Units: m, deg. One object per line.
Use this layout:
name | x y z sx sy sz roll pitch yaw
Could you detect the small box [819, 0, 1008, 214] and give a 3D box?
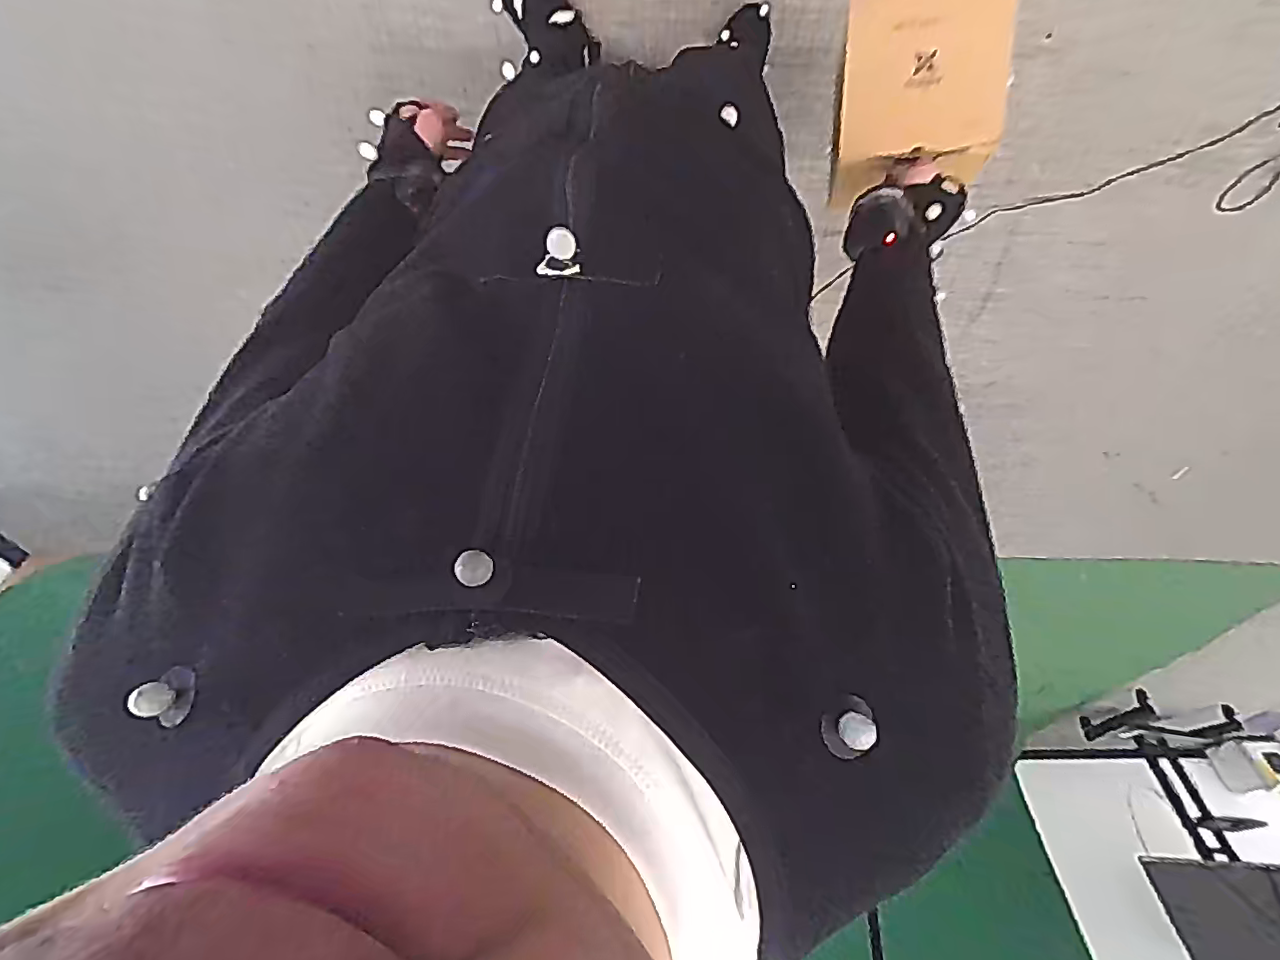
small box | 0.316 -0.441 0.660 0.168 0.176 0.179 3 95 12
